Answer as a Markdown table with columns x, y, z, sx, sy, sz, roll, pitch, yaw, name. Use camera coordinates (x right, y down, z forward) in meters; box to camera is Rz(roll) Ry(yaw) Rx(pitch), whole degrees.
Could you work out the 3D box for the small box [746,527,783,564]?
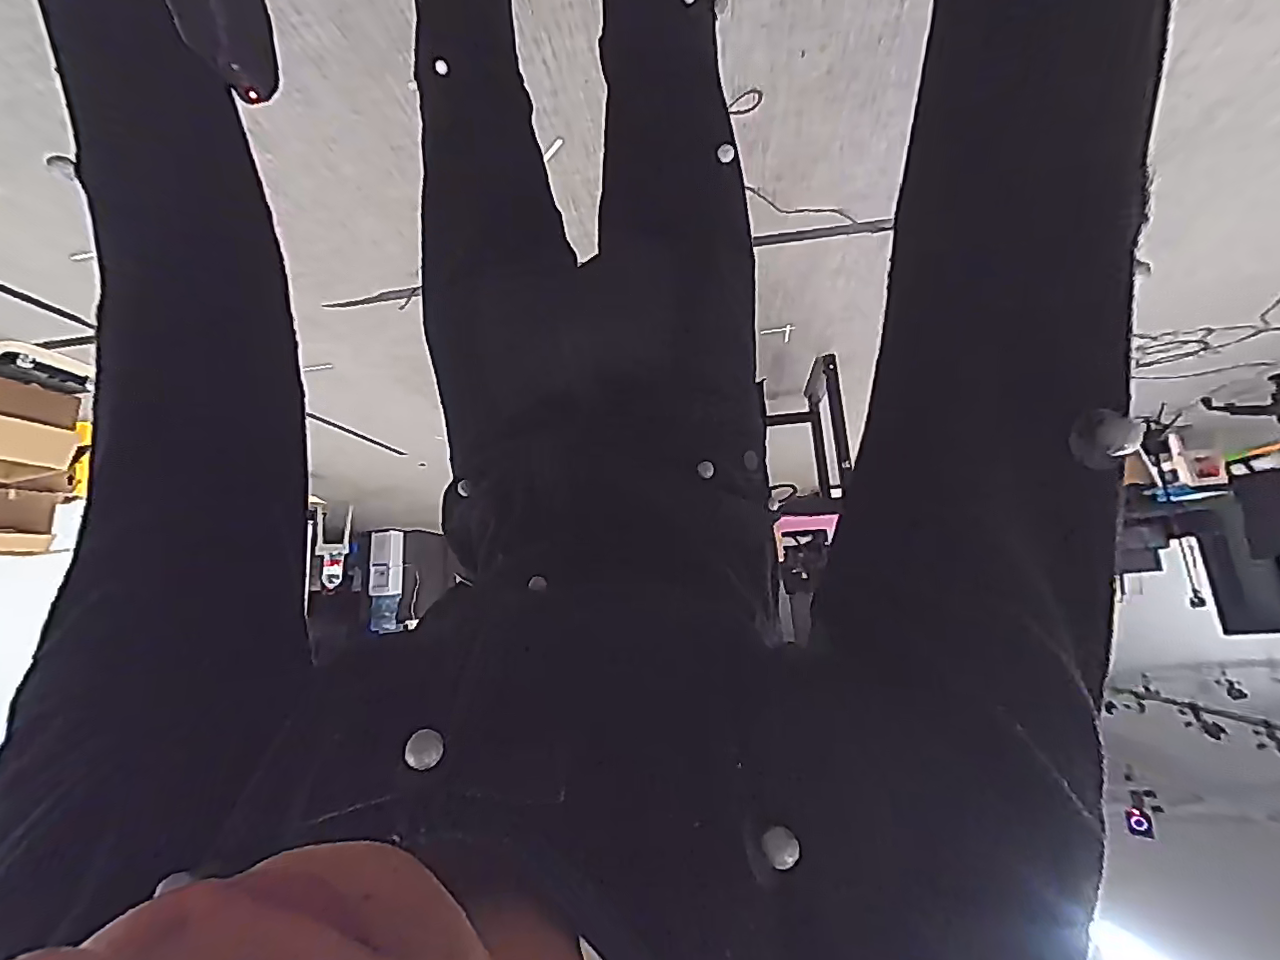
| x | y | z | sx | sy | sz | roll | pitch | yaw | name |
| --- | --- | --- | --- | --- | --- | --- | --- | --- | --- |
| 0.627 | 0.332 | 2.723 | 0.168 | 0.176 | 0.179 | -6 | 166 | 11 | small box |
